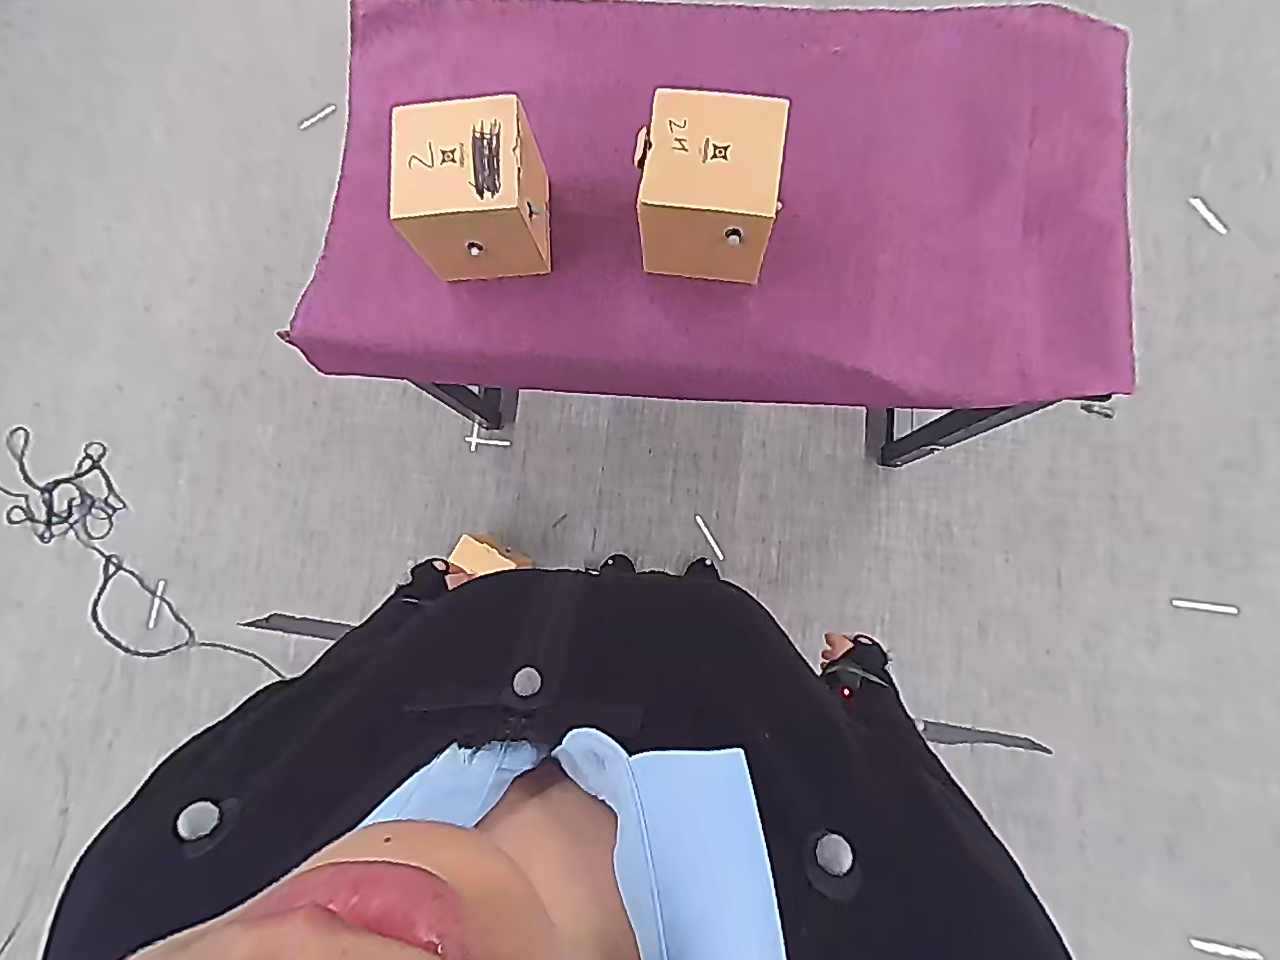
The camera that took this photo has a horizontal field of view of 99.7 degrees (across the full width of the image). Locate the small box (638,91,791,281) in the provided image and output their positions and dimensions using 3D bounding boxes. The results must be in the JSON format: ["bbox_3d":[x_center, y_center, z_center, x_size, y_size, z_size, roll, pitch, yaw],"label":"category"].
[{"bbox_3d":[0.101,-0.402,0.764,0.179,0.176,0.168,8,82,6],"label":"small box"}]

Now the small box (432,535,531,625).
[{"bbox_3d":[-0.415,0.264,1.450,0.168,0.176,0.179,28,85,7],"label":"small box"}]
